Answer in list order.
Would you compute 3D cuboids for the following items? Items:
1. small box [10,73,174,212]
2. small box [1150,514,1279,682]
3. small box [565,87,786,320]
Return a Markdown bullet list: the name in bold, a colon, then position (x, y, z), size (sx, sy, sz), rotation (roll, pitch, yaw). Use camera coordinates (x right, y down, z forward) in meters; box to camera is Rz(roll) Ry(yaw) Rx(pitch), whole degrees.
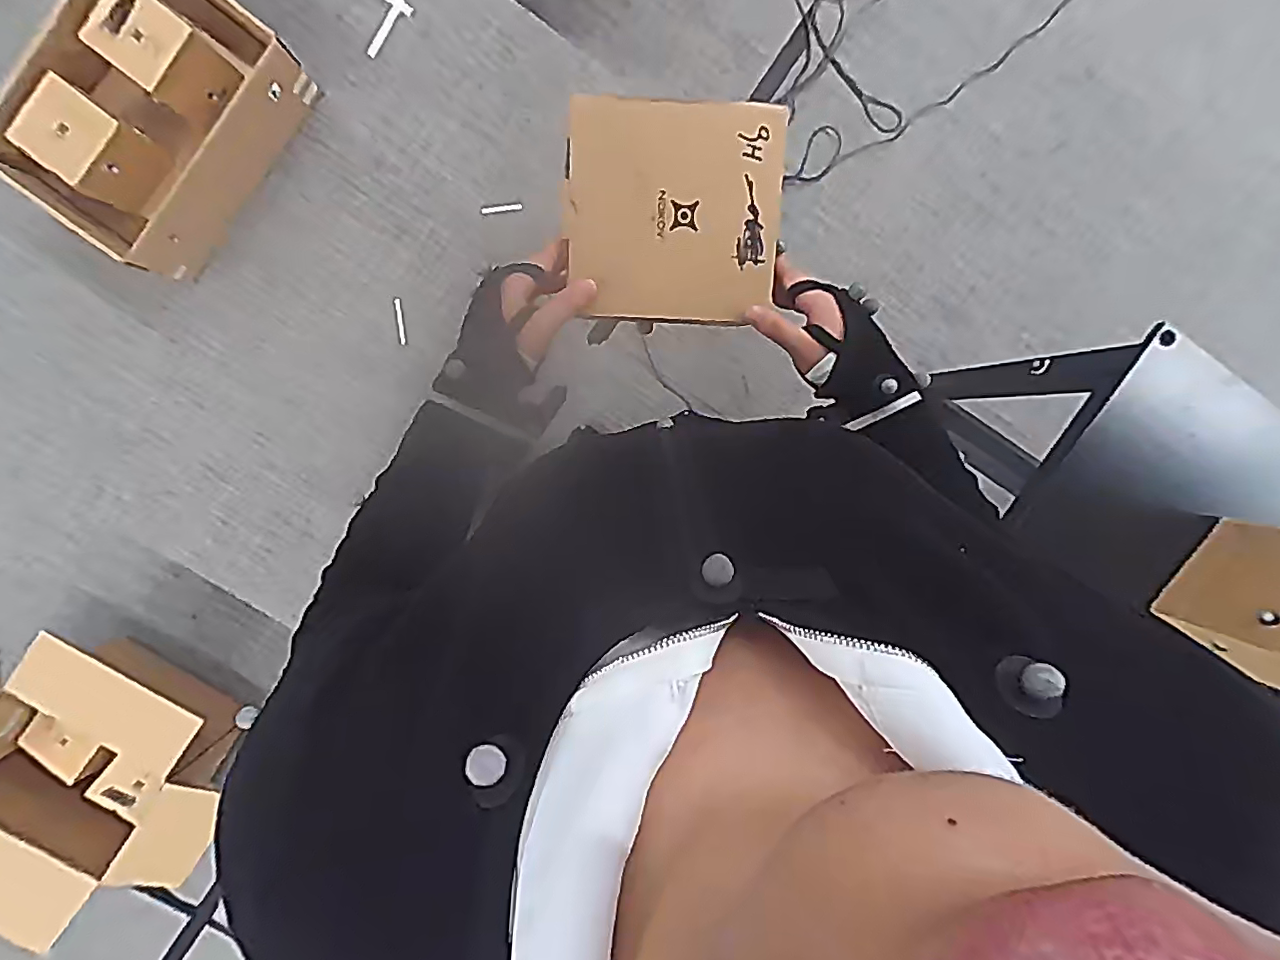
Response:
- **small box**: position (-1.239, -0.760, 1.241), size (0.168, 0.176, 0.179), rotation (38, 92, -8)
- **small box**: position (0.880, 0.167, 0.744), size (0.168, 0.176, 0.179), rotation (35, 94, -5)
- **small box**: position (0.024, -0.245, 0.521), size (0.179, 0.176, 0.168), rotation (1, 105, -2)
